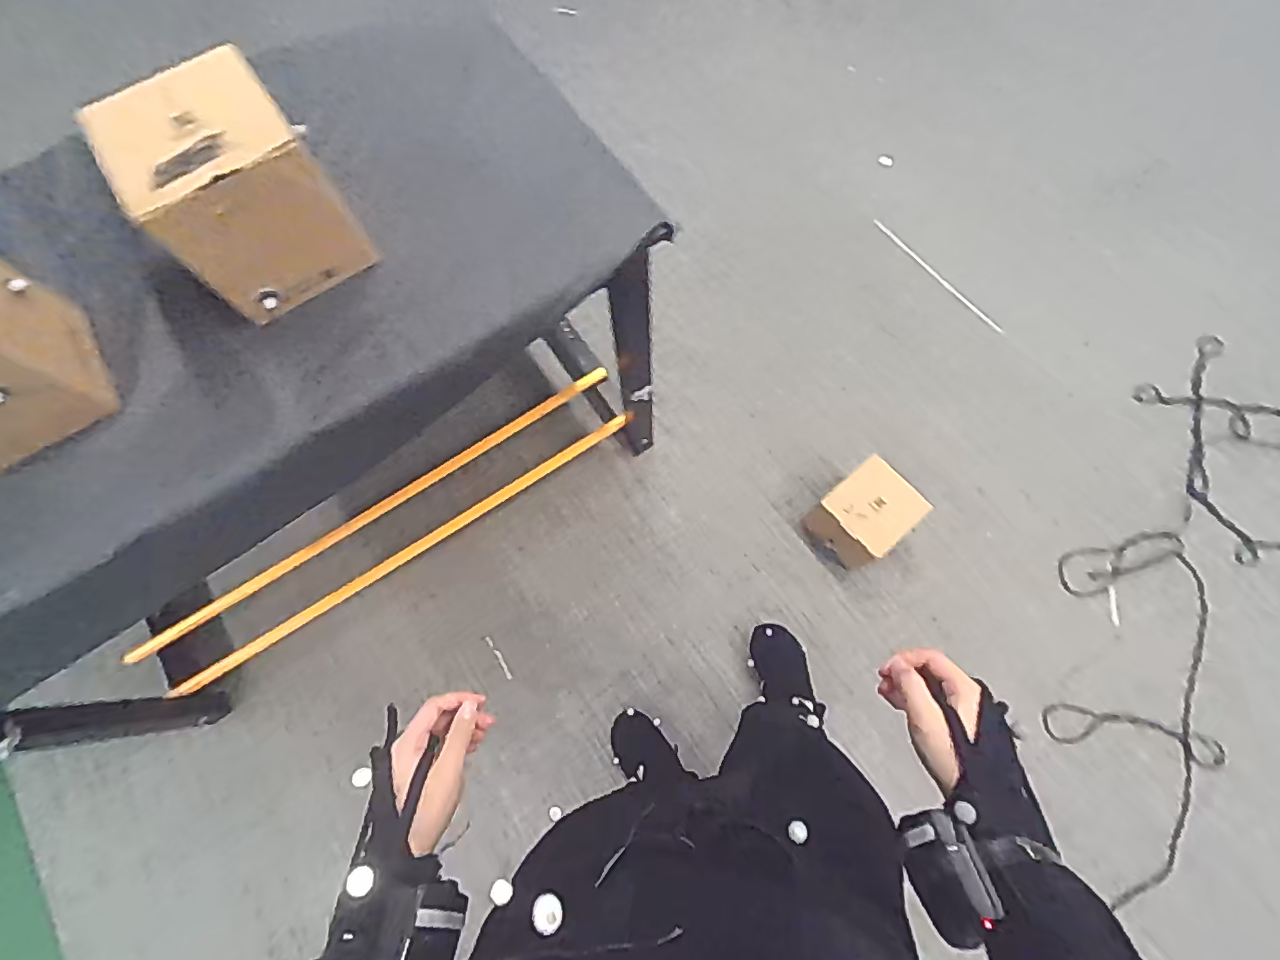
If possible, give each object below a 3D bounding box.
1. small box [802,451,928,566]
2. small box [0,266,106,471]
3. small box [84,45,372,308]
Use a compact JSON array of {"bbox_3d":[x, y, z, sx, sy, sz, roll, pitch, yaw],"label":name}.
[{"bbox_3d":[0.495,0.069,1.222,0.179,0.176,0.168,-40,74,-11],"label":"small box"},{"bbox_3d":[-0.709,-0.125,0.551,0.179,0.176,0.168,-34,73,-9],"label":"small box"},{"bbox_3d":[-0.442,-0.323,0.610,0.168,0.176,0.179,-35,73,-10],"label":"small box"}]
